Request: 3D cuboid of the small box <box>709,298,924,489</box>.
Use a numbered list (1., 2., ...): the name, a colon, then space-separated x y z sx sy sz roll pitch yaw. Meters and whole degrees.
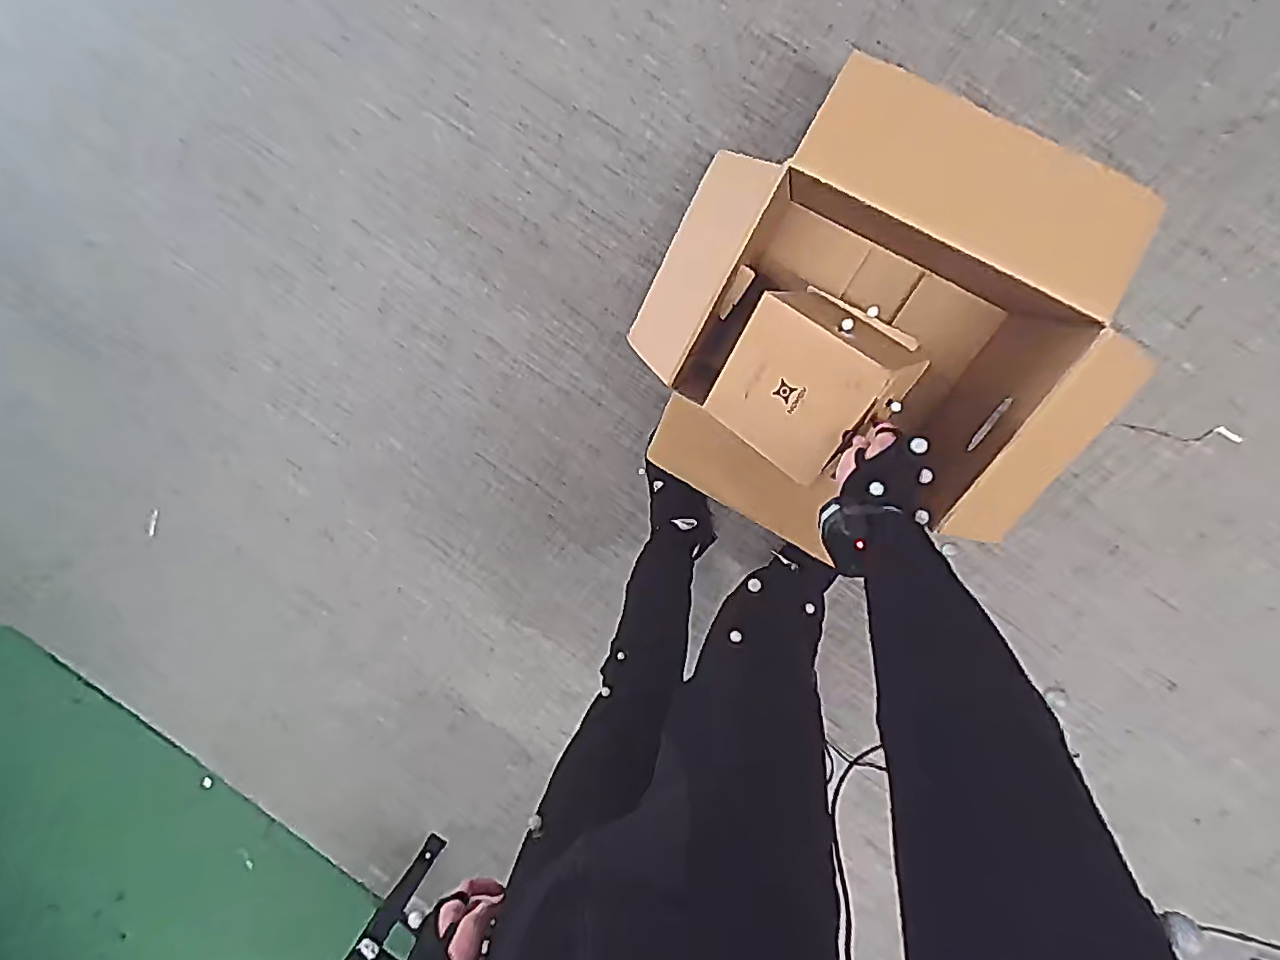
1. small box: 0.229 -0.119 0.697 0.179 0.176 0.168 43 125 23
